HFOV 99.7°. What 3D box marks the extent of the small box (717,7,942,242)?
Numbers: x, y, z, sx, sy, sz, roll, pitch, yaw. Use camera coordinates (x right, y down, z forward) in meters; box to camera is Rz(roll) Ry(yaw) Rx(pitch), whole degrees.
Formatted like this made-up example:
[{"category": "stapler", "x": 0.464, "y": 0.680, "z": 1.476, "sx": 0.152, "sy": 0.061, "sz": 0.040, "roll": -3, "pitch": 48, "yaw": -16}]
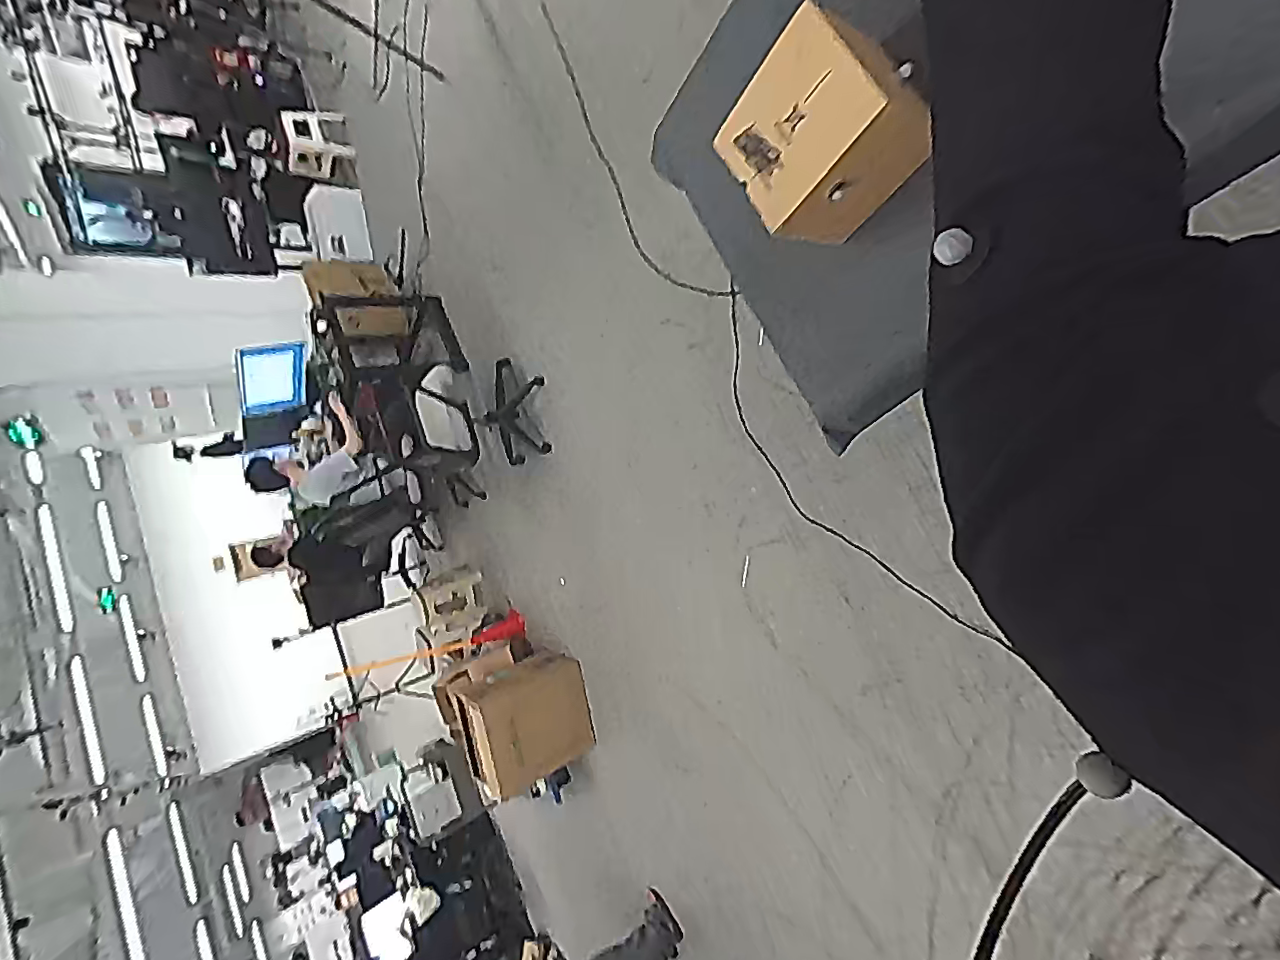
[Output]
[{"category": "small box", "x": 0.239, "y": -0.431, "z": 0.691, "sx": 0.179, "sy": 0.176, "sz": 0.168, "roll": -42, "pitch": 69, "yaw": 47}]
